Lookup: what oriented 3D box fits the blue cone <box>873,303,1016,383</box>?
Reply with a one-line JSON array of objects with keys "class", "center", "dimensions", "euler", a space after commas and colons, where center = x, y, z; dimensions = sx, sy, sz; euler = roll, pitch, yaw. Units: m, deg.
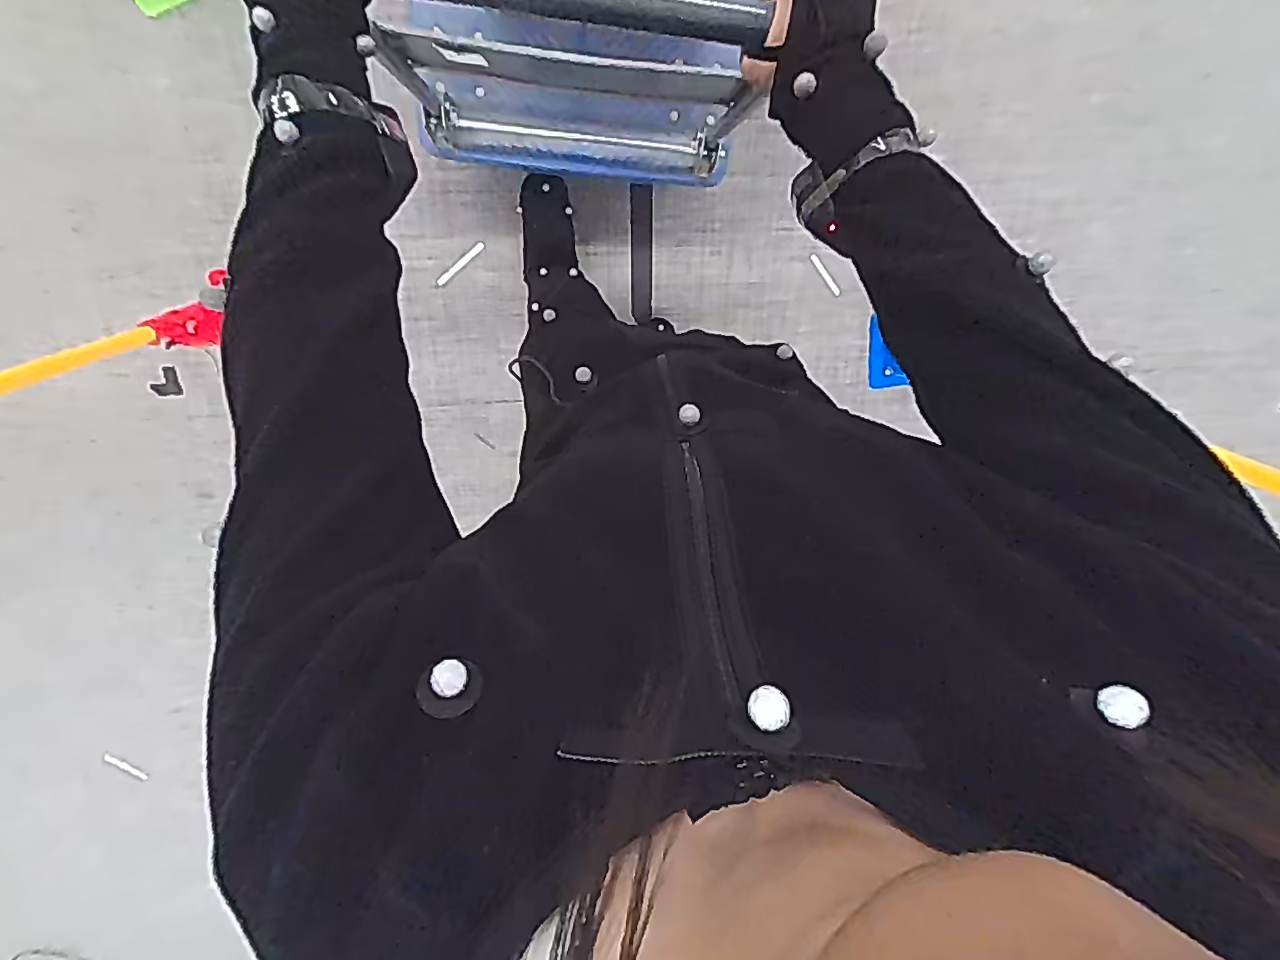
[{"class": "blue cone", "center": [0.704, -0.291, 1.232], "dimensions": [0.193, 0.380, 0.192], "euler": [-6, 111, -3]}]
